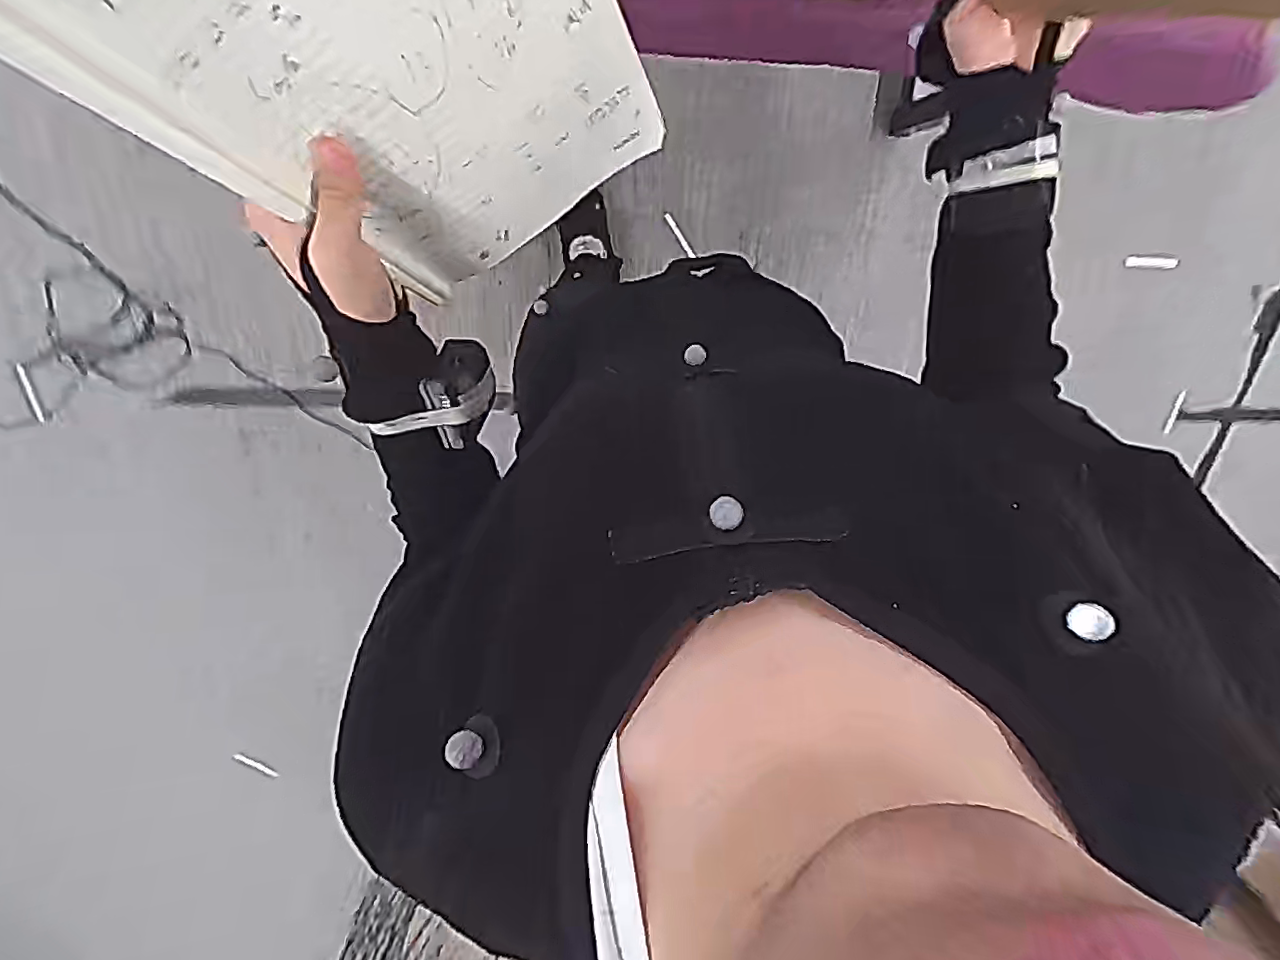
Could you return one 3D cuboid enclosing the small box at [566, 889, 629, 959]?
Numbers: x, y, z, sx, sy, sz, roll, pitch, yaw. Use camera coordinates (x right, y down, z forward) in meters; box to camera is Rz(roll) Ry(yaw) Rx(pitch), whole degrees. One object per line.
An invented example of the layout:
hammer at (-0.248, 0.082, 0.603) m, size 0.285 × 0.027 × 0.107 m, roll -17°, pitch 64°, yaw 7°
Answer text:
small box at (-0.123, 1.290, 1.524) m, size 0.168 × 0.176 × 0.179 m, roll 2°, pitch 112°, yaw -6°
